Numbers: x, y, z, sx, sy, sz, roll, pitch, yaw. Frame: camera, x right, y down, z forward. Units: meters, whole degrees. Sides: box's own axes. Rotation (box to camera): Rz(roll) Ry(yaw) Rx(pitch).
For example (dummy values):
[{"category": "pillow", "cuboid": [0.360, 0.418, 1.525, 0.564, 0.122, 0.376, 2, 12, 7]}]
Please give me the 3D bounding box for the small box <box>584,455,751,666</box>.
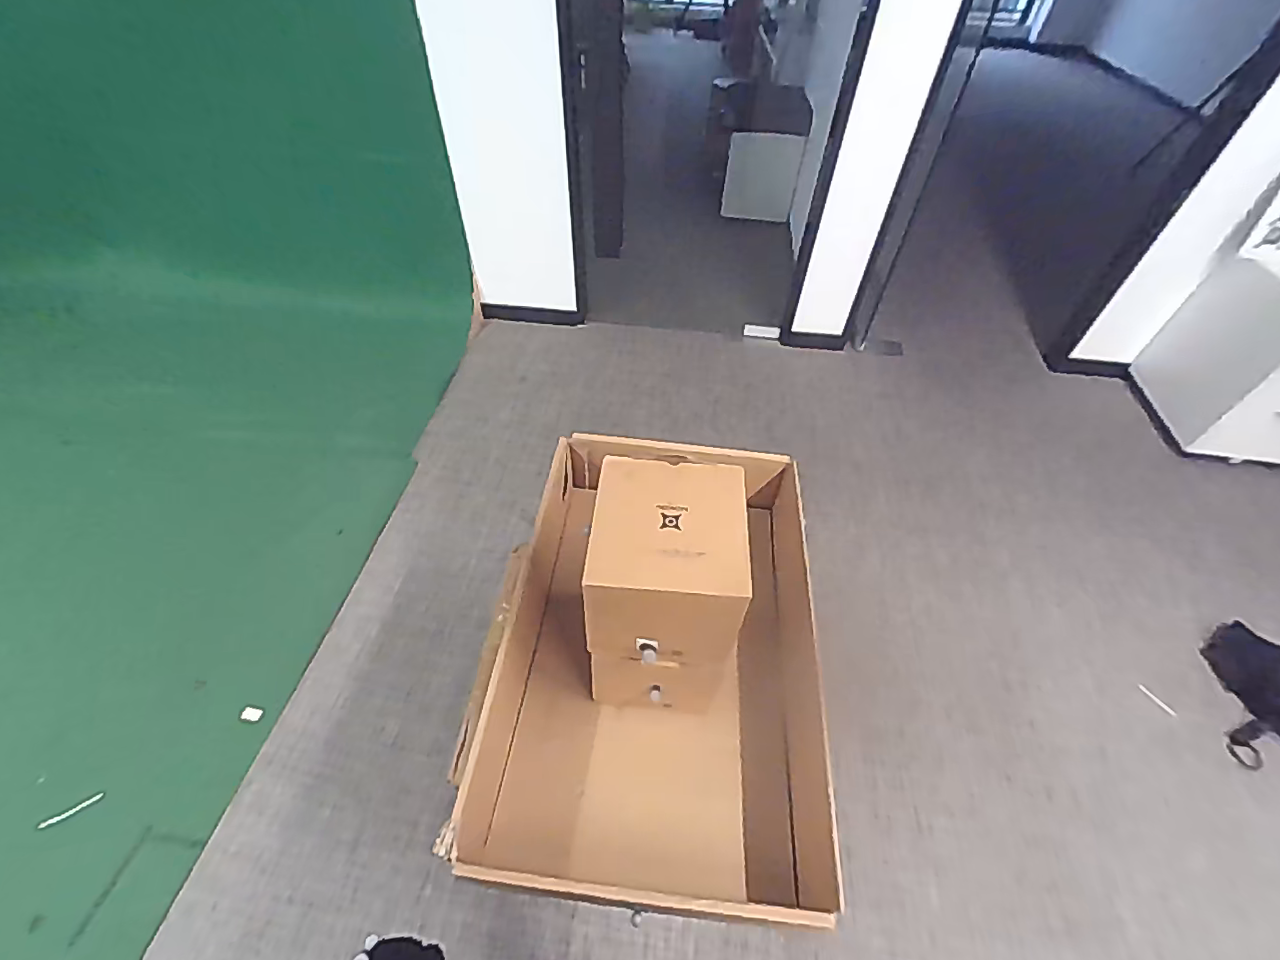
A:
[{"category": "small box", "cuboid": [0.030, 0.095, 0.633, 0.168, 0.176, 0.179, 4, 49, 2]}]
